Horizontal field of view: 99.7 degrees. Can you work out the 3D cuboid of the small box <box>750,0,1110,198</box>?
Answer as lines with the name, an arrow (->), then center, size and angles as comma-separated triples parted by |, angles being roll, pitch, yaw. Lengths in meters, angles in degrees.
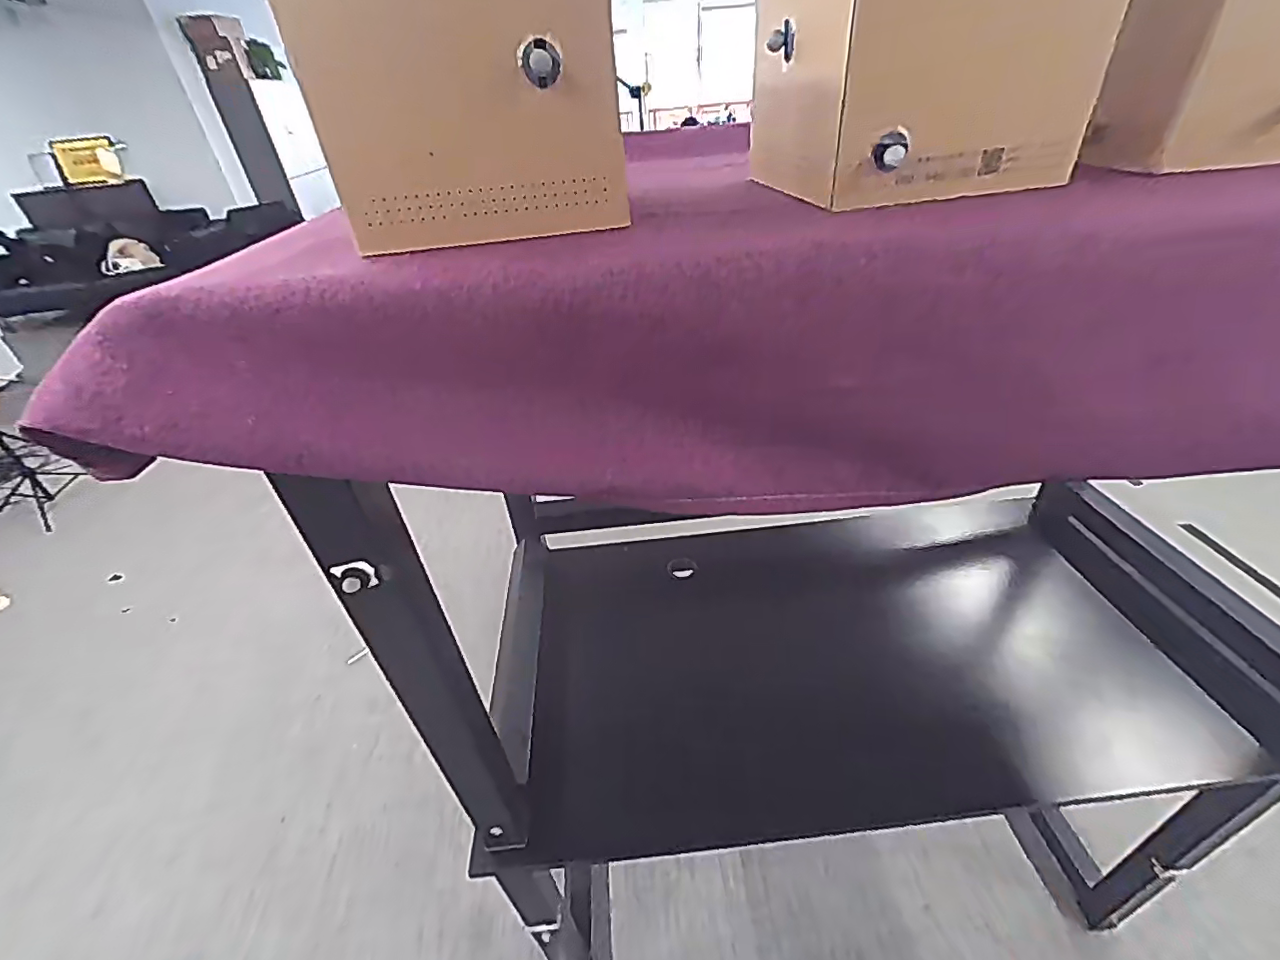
small box -> 0.180, -0.298, 0.369 | 0.168, 0.176, 0.179 | -8, 35, -4

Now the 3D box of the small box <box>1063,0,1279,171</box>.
small box -> 0.412, -0.322, 0.371 | 0.179, 0.176, 0.168 | -4, 35, 1

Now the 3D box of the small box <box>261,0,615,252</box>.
small box -> -0.113, -0.264, 0.360 | 0.179, 0.176, 0.168 | -9, 35, -6
